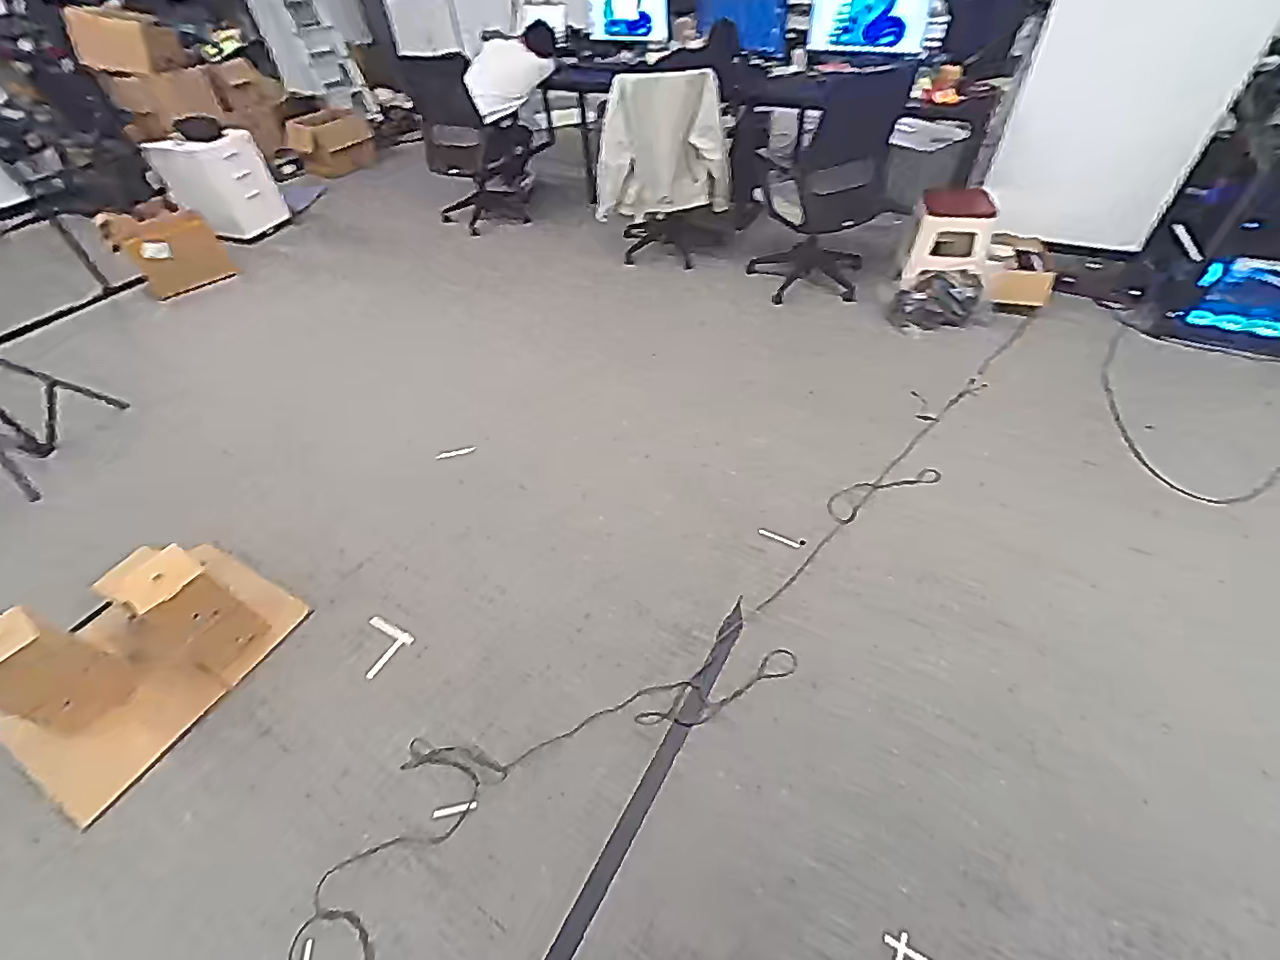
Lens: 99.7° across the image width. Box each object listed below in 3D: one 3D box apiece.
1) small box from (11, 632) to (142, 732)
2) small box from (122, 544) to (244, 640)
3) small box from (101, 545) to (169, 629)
[{"bbox_3d":[-1.583,0.575,1.526,0.168,0.176,0.179,29,57,27],"label":"small box"},{"bbox_3d":[-1.274,0.318,1.519,0.179,0.176,0.168,24,54,23],"label":"small box"},{"bbox_3d":[-1.546,0.345,1.741,0.168,0.176,0.179,16,51,20],"label":"small box"}]
